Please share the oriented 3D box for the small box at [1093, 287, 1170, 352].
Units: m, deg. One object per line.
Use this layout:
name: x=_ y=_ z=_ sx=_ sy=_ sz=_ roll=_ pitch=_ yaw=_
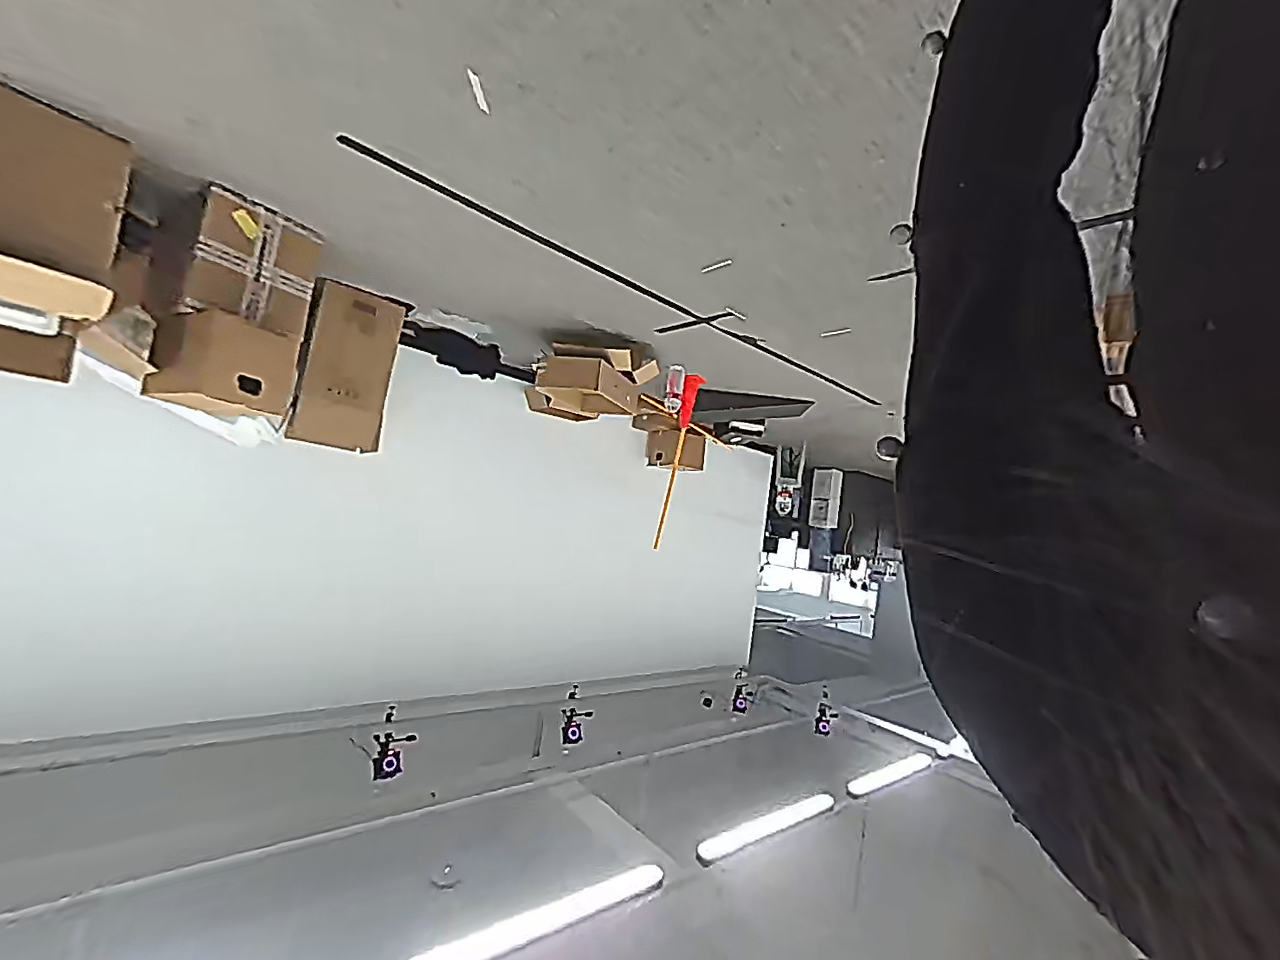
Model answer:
small box: x=1.735 y=-0.565 z=1.915 sx=0.179 sy=0.176 sz=0.168 roll=4 pitch=174 yaw=33
